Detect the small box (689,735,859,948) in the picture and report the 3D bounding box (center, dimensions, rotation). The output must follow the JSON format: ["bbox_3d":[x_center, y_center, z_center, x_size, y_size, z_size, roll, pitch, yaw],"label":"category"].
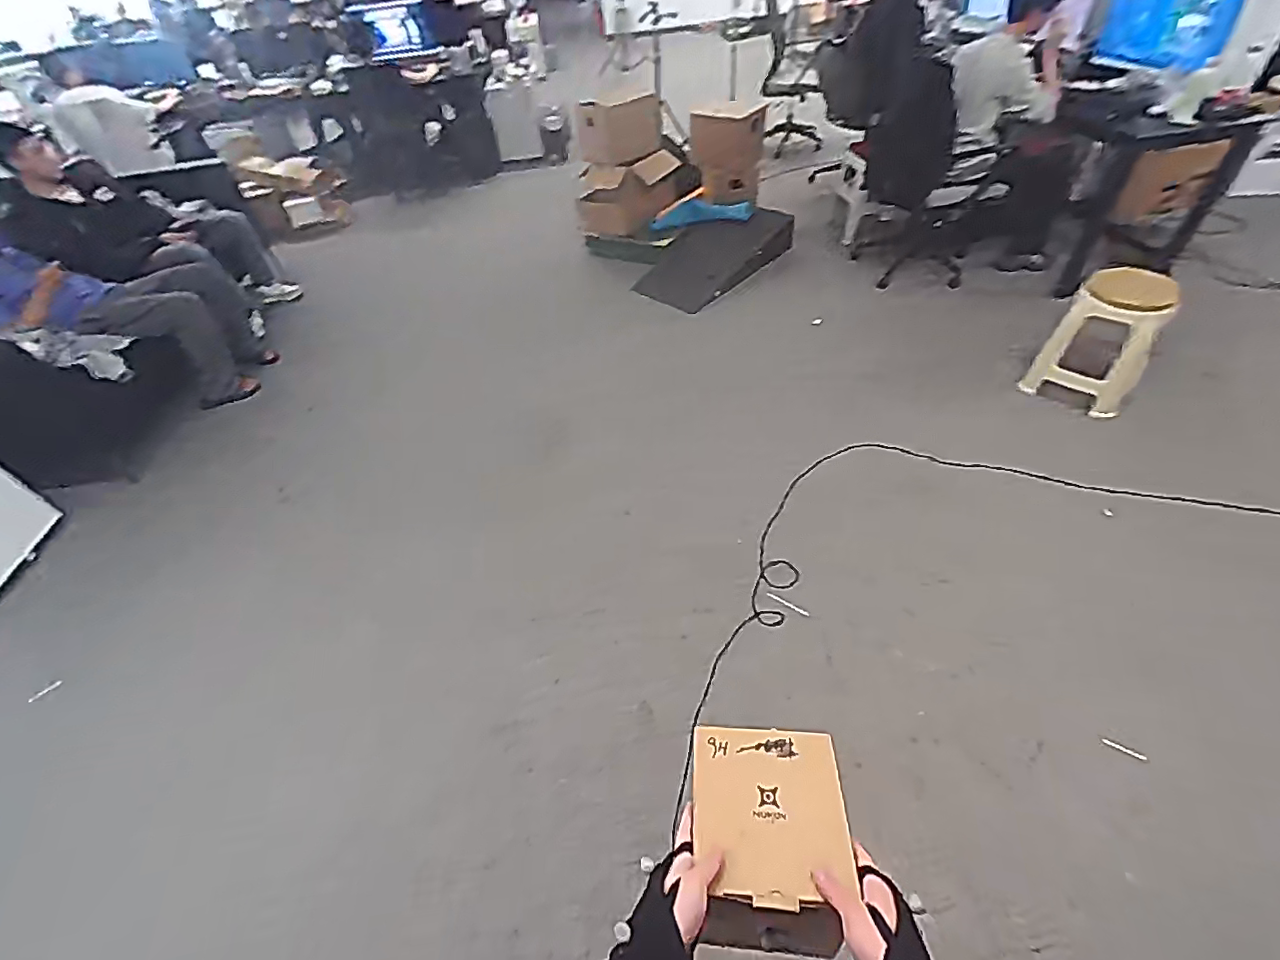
[{"bbox_3d":[0.146,0.434,0.652,0.168,0.176,0.179,-2,37,3],"label":"small box"}]
